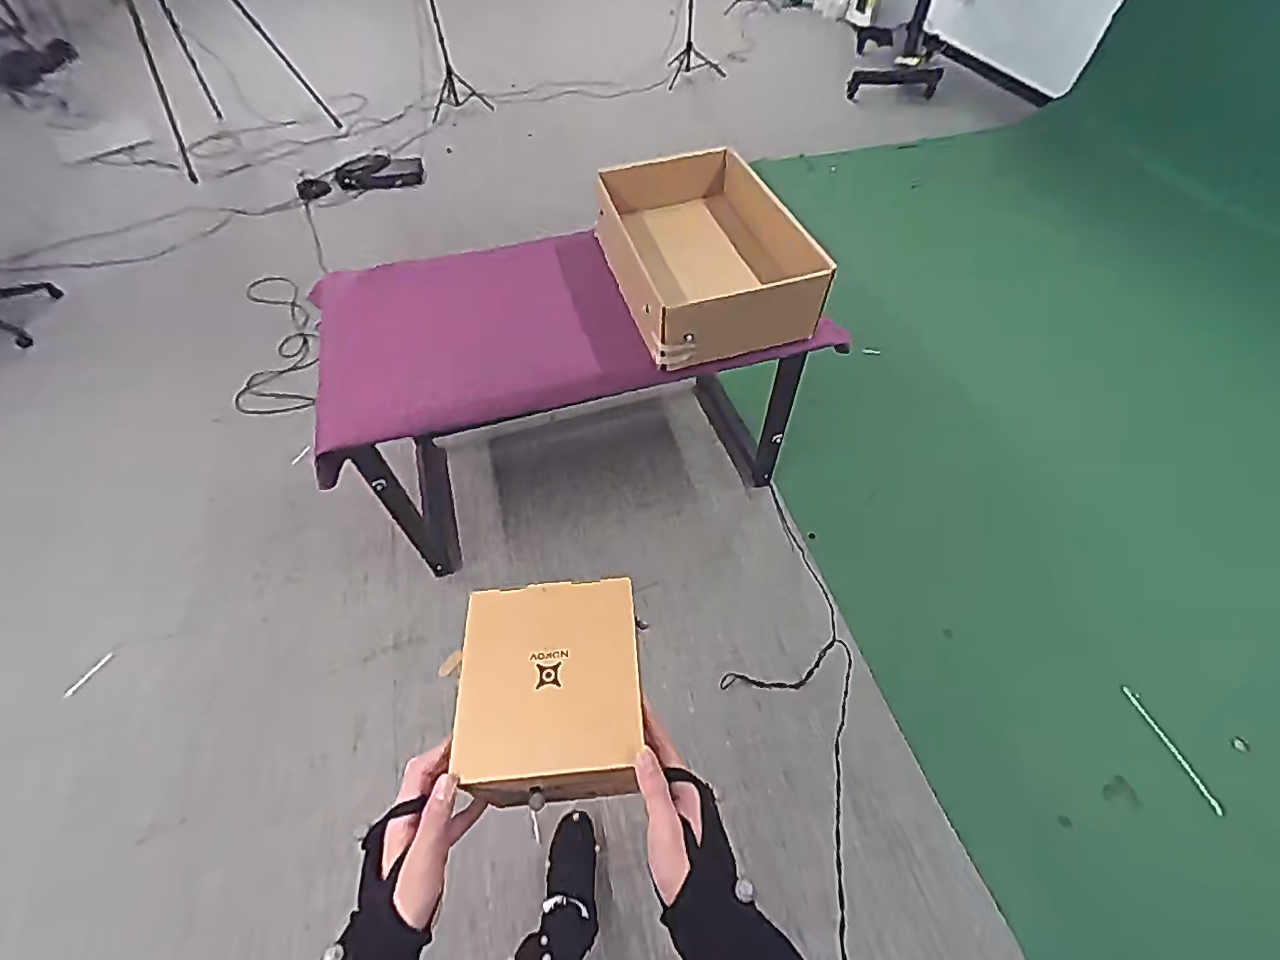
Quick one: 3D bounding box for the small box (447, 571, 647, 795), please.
[{"bbox_3d":[-0.082,0.216,0.561,0.168,0.176,0.179,-5,52,-1],"label":"small box"}]
